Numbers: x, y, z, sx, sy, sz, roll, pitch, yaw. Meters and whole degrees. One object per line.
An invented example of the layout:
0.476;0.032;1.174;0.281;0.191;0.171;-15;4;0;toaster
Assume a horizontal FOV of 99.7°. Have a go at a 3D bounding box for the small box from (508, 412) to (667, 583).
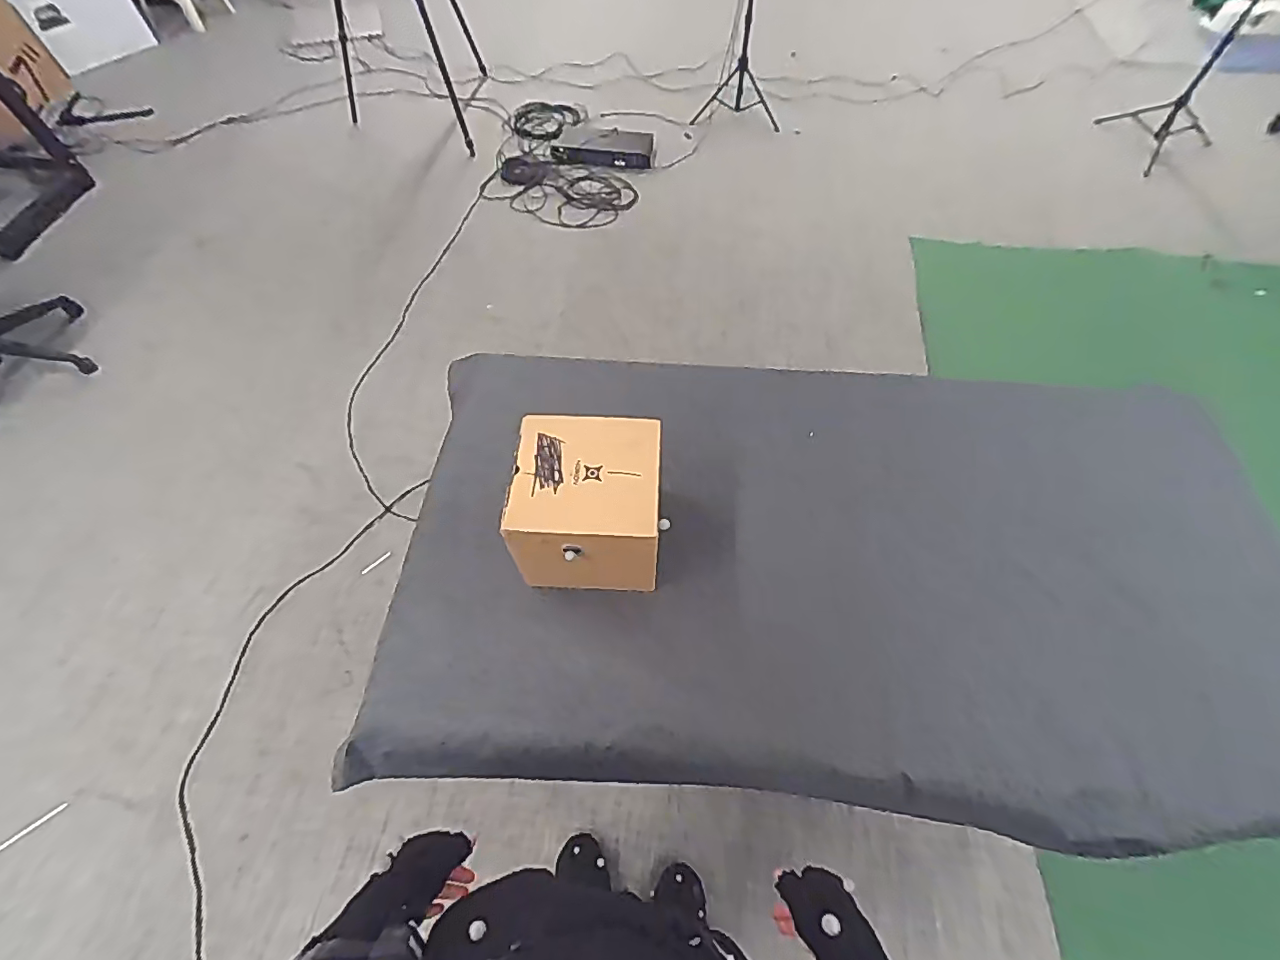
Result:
-0.057;0.029;0.712;0.179;0.176;0.168;3;59;2;small box
